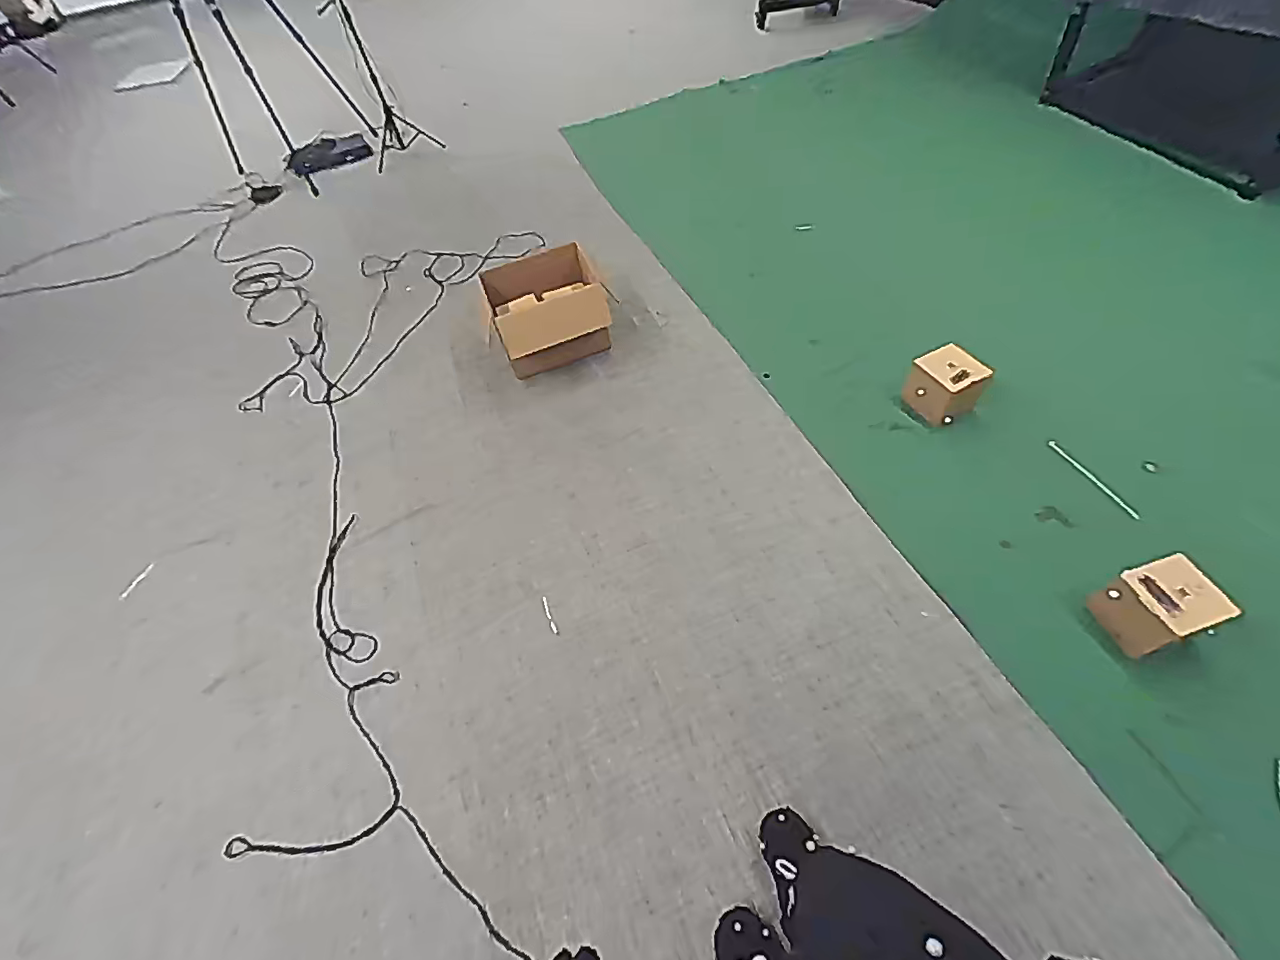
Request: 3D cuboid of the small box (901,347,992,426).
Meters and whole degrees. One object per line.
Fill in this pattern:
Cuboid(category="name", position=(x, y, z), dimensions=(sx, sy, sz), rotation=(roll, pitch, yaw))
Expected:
Cuboid(category="small box", position=(1.008, -0.302, 1.793), dimensions=(0.168, 0.176, 0.179), rotation=(-24, 54, -10))
